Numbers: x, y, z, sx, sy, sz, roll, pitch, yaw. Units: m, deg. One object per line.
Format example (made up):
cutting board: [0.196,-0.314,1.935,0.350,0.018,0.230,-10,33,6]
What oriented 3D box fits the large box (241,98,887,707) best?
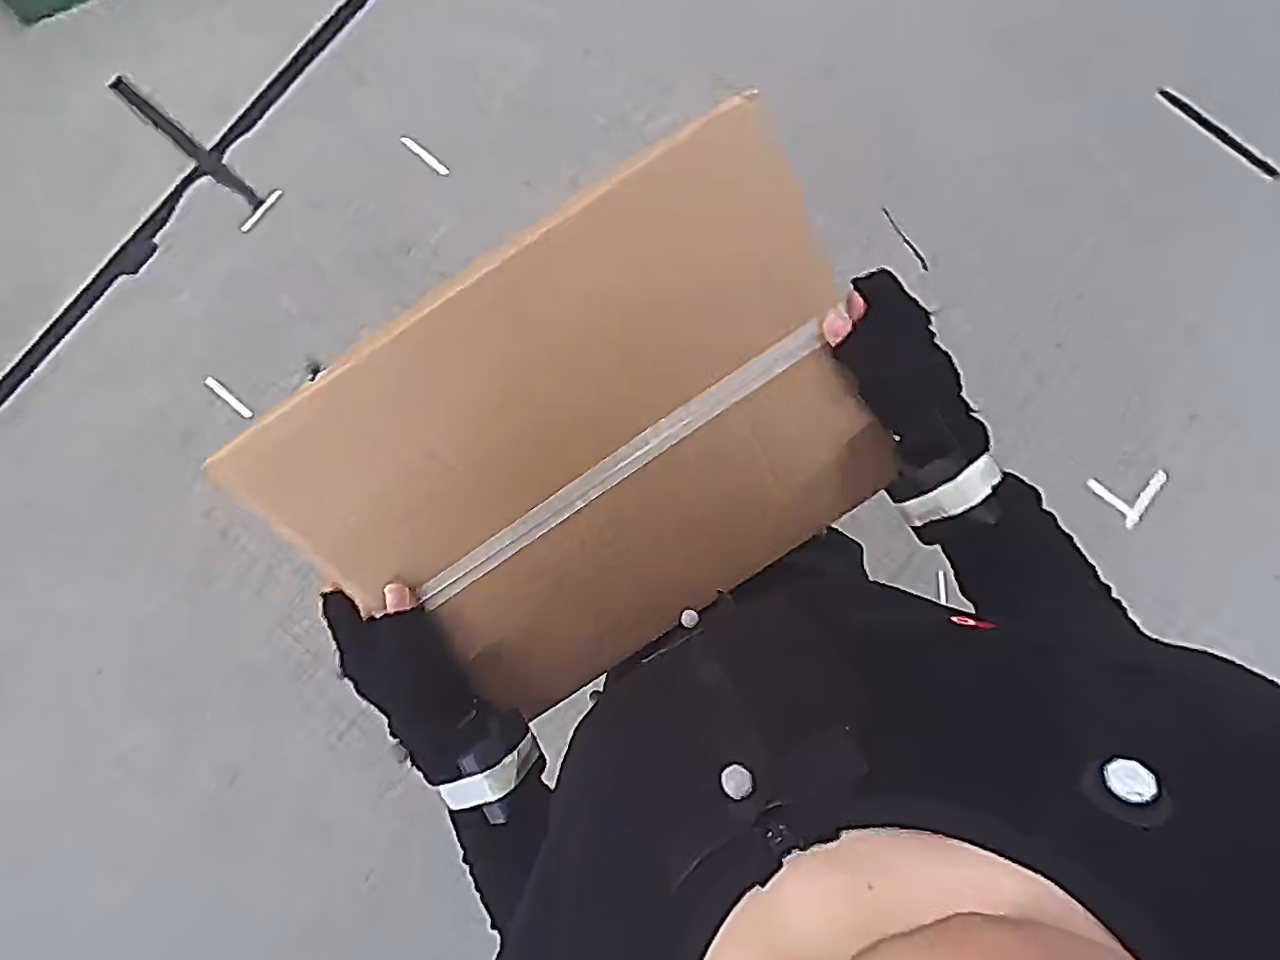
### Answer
large box: [-0.058,-0.073,0.542,0.408,0.320,0.320,-34,118,2]
